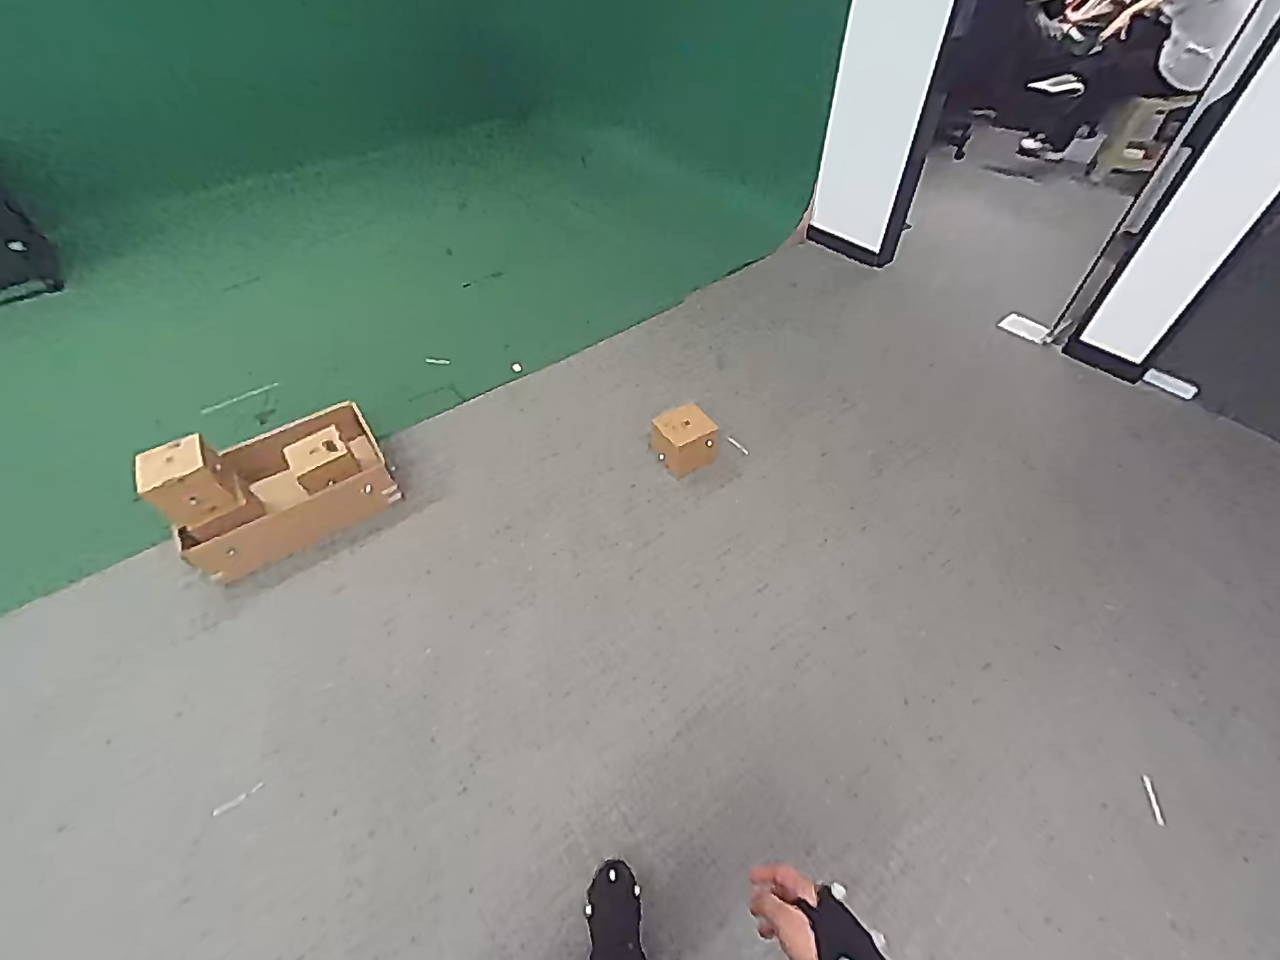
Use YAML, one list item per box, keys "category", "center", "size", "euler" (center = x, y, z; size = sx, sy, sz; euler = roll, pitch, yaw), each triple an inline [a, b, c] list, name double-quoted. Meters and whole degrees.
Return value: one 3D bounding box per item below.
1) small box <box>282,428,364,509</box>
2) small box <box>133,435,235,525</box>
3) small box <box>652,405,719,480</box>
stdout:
- category: "small box"
  center: [-1.061, -0.037, 1.825]
  size: [0.179, 0.176, 0.168]
  euler: [-30, 55, -20]
- category: "small box"
  center: [-1.330, 0.008, 1.585]
  size: [0.168, 0.176, 0.179]
  euler: [-28, 55, -19]
- category: "small box"
  center: [0.156, -0.131, 1.915]
  size: [0.179, 0.176, 0.168]
  euler: [-26, 52, -18]
